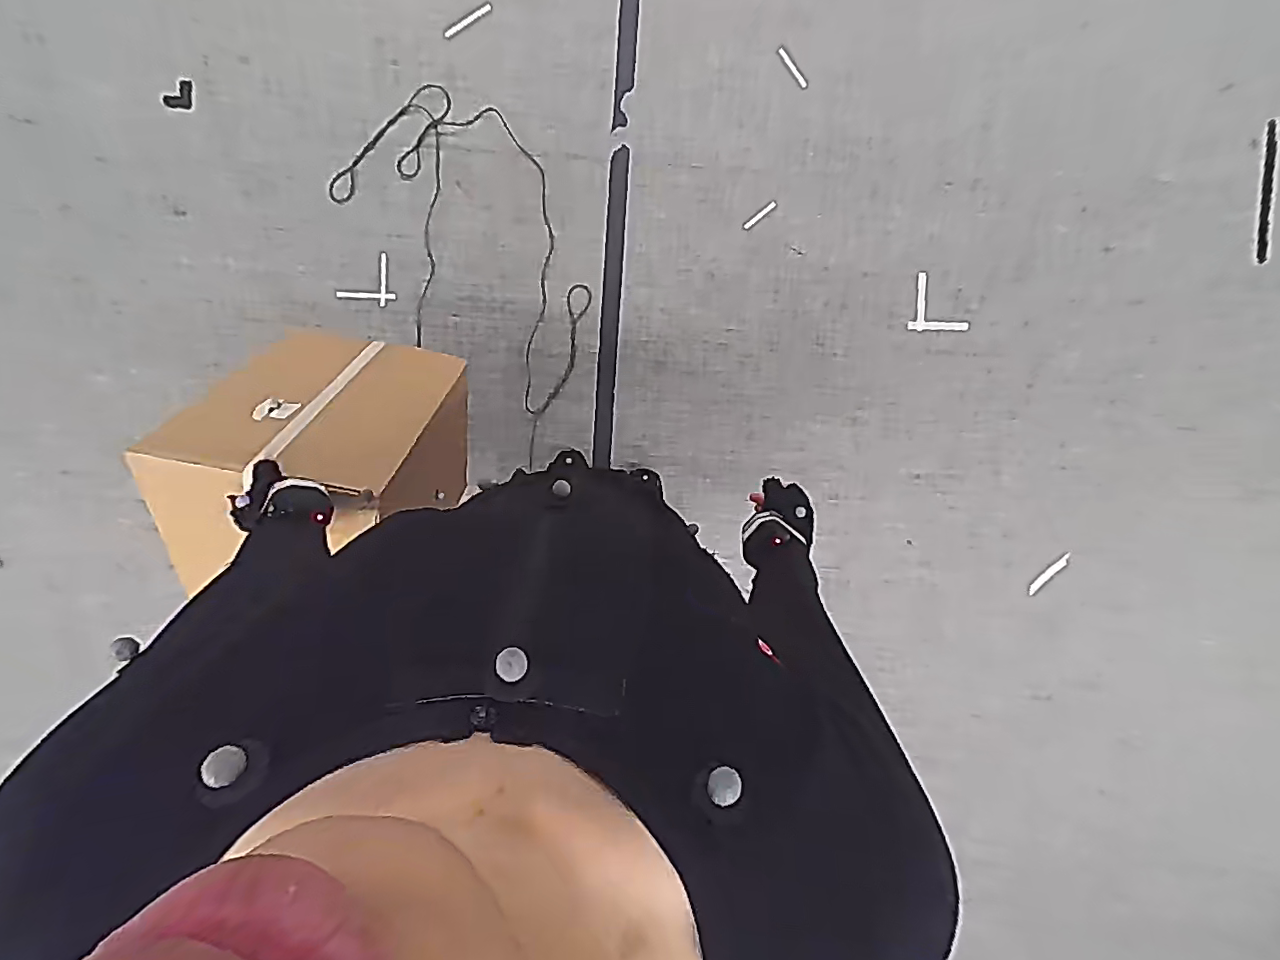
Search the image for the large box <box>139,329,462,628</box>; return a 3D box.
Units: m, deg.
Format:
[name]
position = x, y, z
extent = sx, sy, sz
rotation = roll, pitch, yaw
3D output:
[large box]
position = -0.516, -0.014, 0.944
extent = 0.320, 0.408, 0.320
rotation = 10, 129, -5
